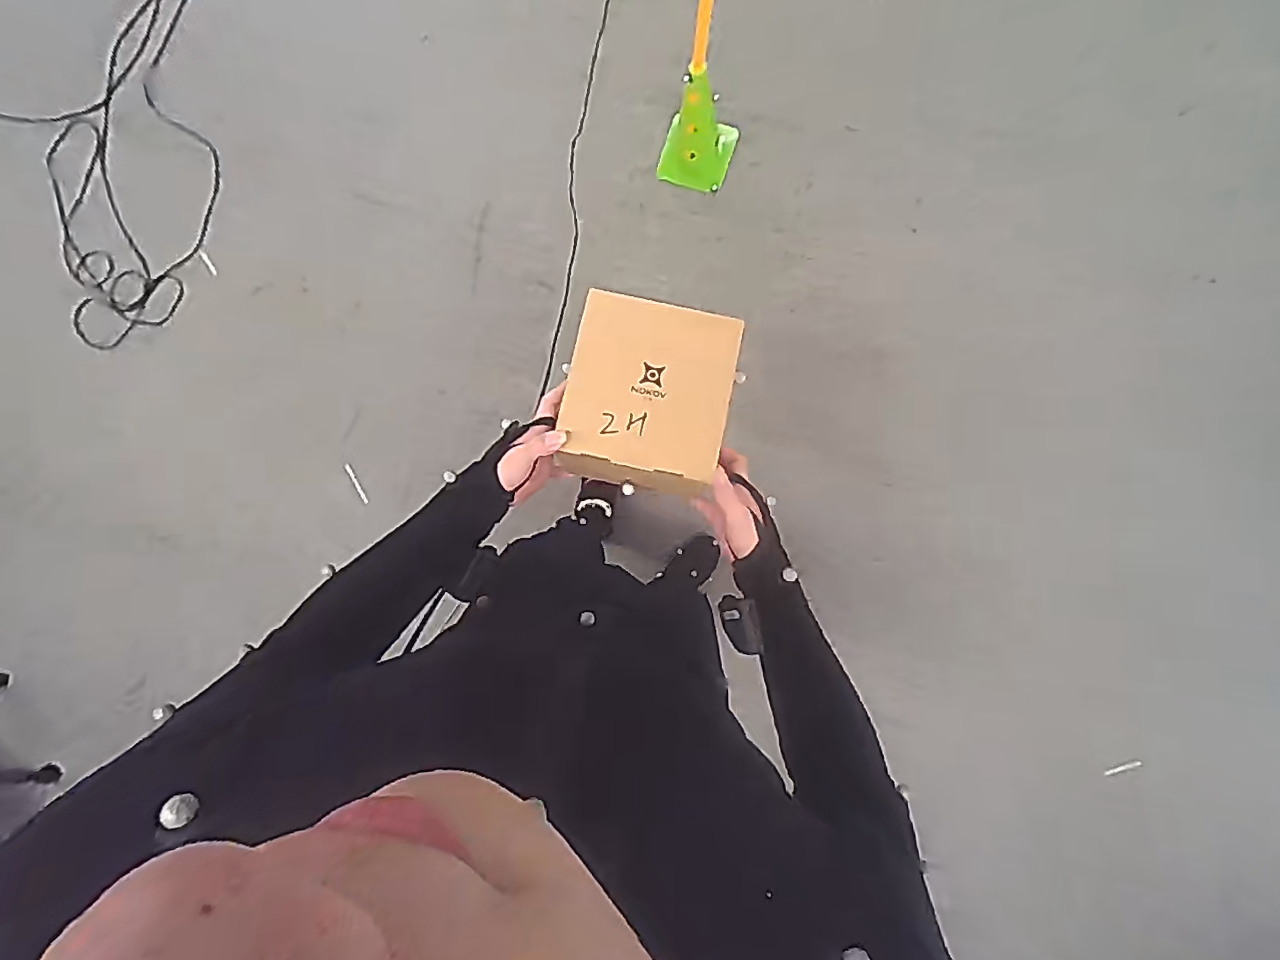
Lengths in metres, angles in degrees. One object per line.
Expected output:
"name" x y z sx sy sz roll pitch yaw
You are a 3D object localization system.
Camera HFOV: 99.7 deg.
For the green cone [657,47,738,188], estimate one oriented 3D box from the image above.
"green cone" 0.148 -0.966 1.403 0.202 0.368 0.200 18 92 6
